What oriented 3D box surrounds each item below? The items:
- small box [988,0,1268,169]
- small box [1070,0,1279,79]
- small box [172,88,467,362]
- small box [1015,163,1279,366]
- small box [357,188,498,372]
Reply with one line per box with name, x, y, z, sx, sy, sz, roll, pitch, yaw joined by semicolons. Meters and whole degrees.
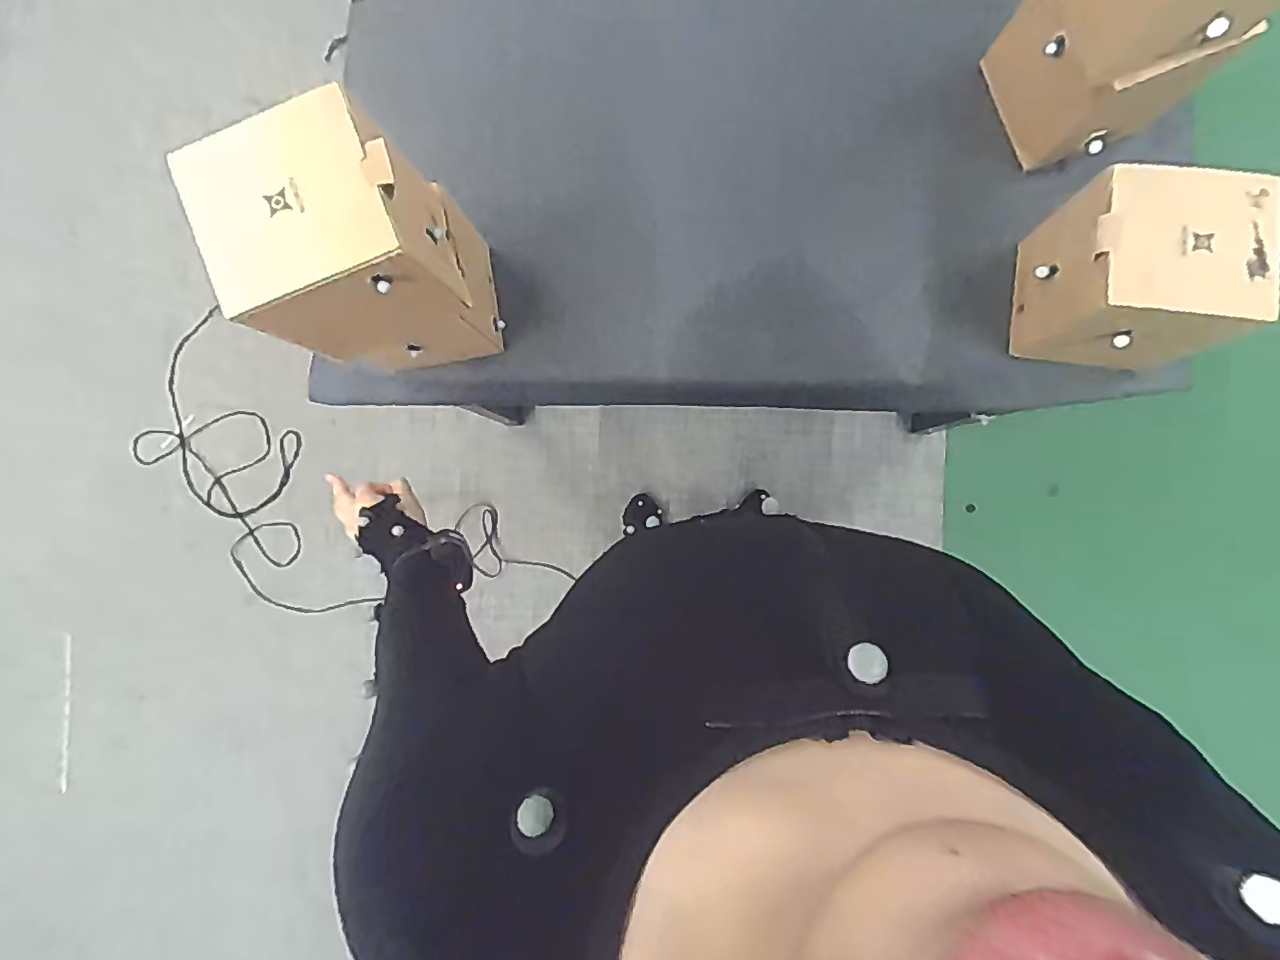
small box;0.573;-0.534;0.666;0.168;0.176;0.179;-21;89;6
small box;0.535;-0.537;0.504;0.168;0.176;0.179;-16;88;7
small box;-0.312;-0.242;0.561;0.179;0.176;0.168;-22;87;3
small box;0.592;-0.246;0.651;0.179;0.176;0.168;7;85;6
small box;-0.302;-0.253;0.724;0.179;0.176;0.168;-10;88;5
